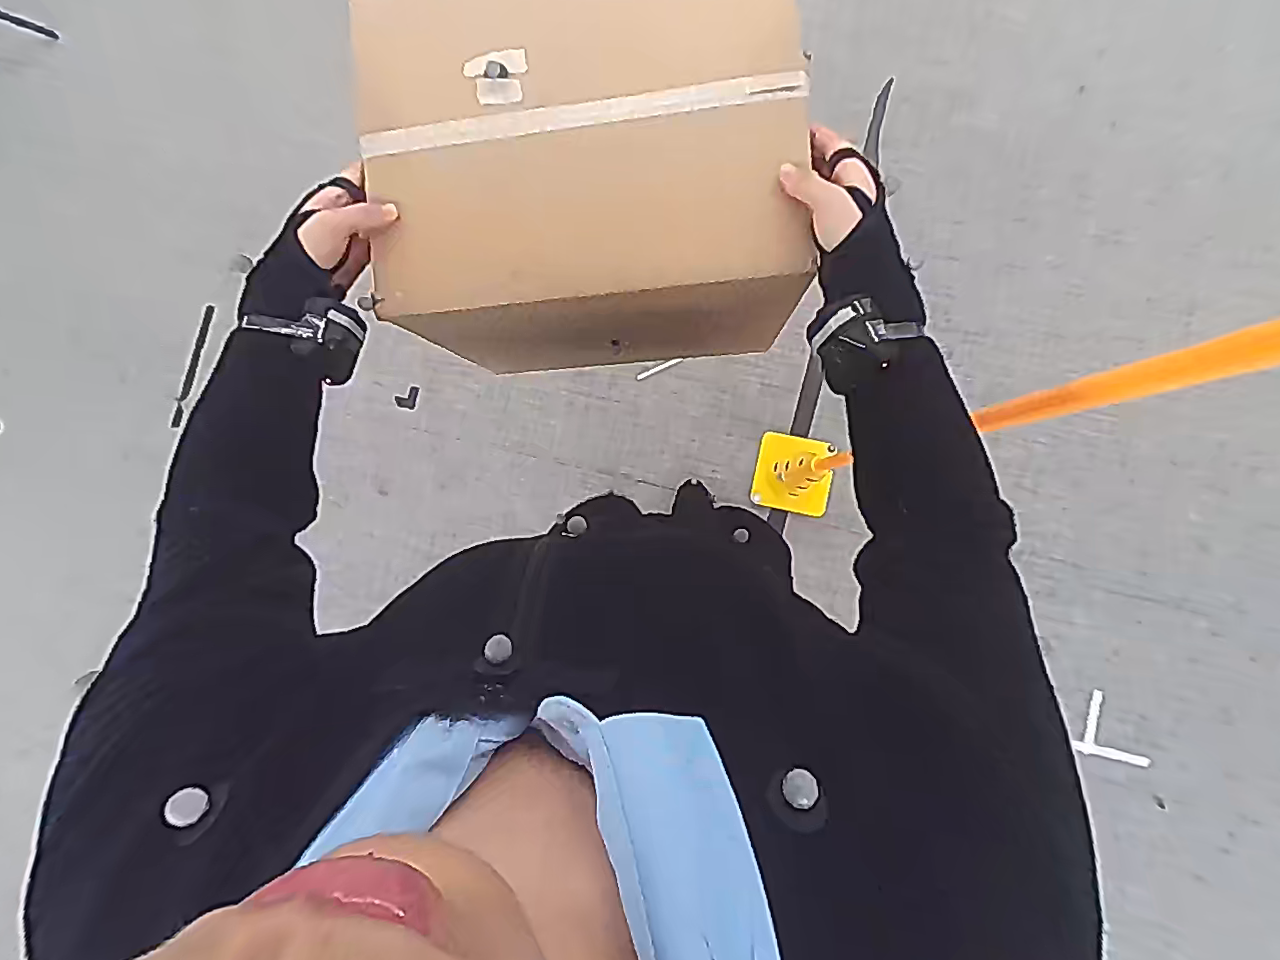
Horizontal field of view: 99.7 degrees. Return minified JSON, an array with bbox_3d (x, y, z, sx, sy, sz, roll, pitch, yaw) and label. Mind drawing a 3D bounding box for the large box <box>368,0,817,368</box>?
[{"bbox_3d":[-0.034,-0.330,0.642,0.408,0.320,0.320,-4,90,7],"label":"large box"}]
